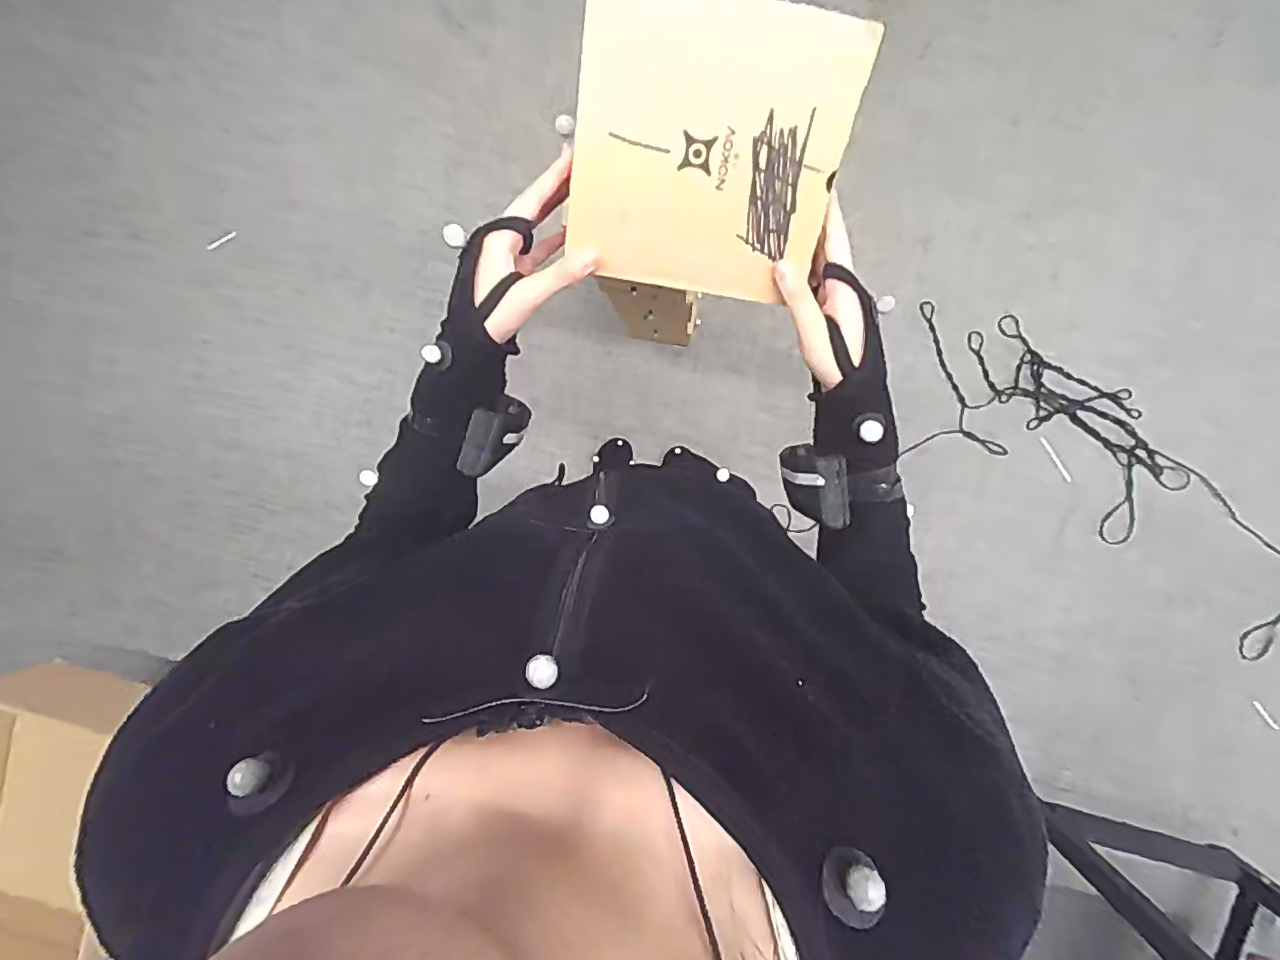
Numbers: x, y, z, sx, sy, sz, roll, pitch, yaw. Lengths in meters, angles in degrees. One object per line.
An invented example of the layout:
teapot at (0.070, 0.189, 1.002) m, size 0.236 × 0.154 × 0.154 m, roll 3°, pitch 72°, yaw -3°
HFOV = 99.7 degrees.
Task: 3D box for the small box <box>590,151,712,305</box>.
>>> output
small box at (0.022, -0.419, 0.921) m, size 0.168 × 0.176 × 0.179 m, roll 10°, pitch 94°, yaw 4°

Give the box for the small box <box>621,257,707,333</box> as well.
small box at (0.051, -0.449, 1.245) m, size 0.179 × 0.176 × 0.168 m, roll 13°, pitch 94°, yaw 4°

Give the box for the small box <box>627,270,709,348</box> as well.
small box at (0.073, -0.452, 1.408) m, size 0.179 × 0.176 × 0.168 m, roll 12°, pitch 93°, yaw 3°

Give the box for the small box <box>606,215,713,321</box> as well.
small box at (0.040, -0.427, 1.083) m, size 0.179 × 0.176 × 0.168 m, roll 10°, pitch 93°, yaw 3°
